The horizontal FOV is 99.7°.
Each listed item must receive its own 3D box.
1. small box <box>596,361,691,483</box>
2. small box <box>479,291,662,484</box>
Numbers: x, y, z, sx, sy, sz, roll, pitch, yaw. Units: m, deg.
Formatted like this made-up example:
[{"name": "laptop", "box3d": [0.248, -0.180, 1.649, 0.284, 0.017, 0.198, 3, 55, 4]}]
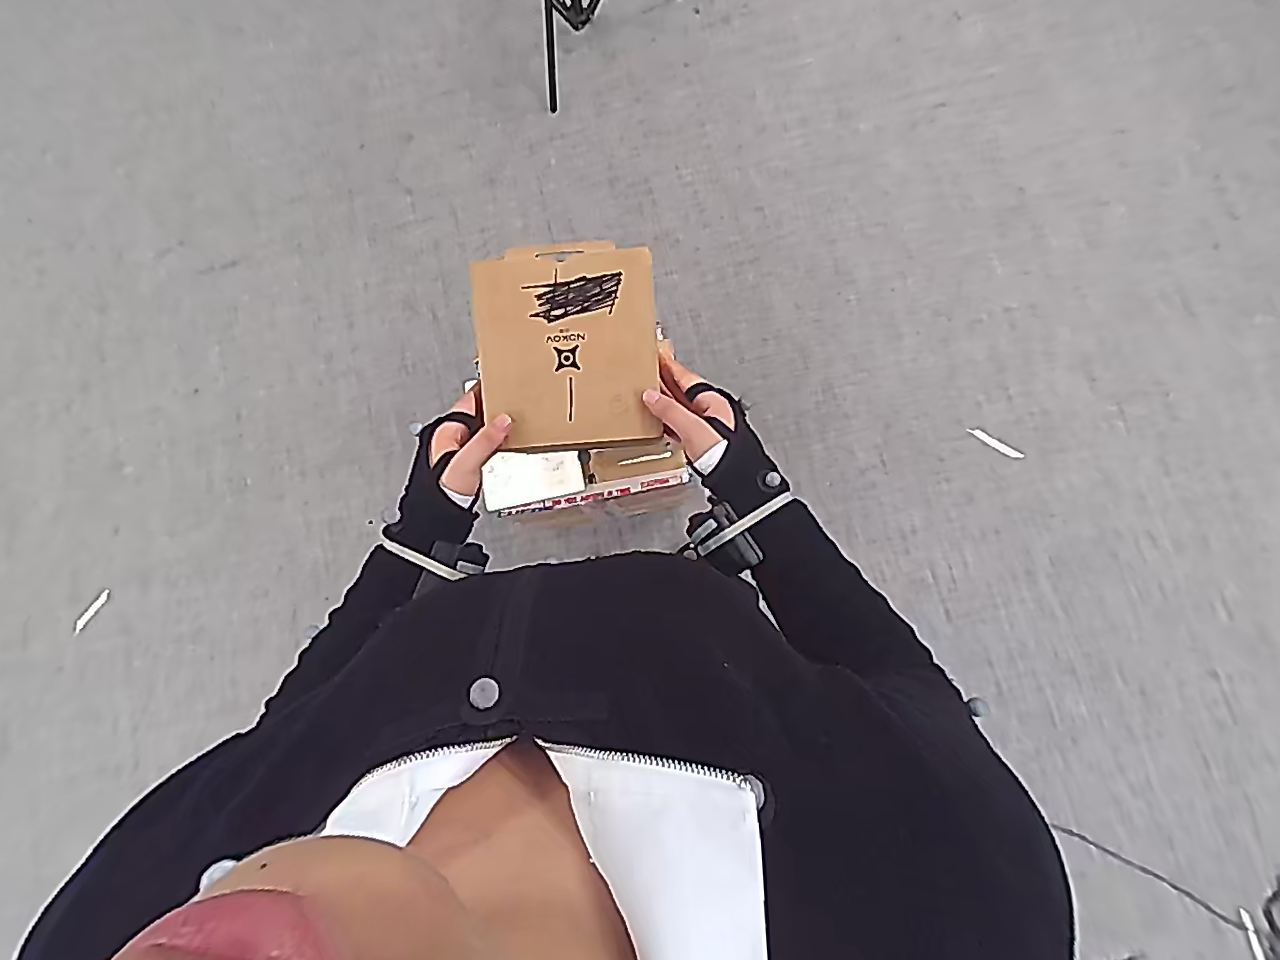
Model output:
[{"name": "small box", "box3d": [-0.017, -0.099, 0.998, 0.179, 0.176, 0.168, -14, 82, -1]}, {"name": "small box", "box3d": [-0.065, -0.088, 0.587, 0.168, 0.176, 0.179, -4, 92, 1]}]
